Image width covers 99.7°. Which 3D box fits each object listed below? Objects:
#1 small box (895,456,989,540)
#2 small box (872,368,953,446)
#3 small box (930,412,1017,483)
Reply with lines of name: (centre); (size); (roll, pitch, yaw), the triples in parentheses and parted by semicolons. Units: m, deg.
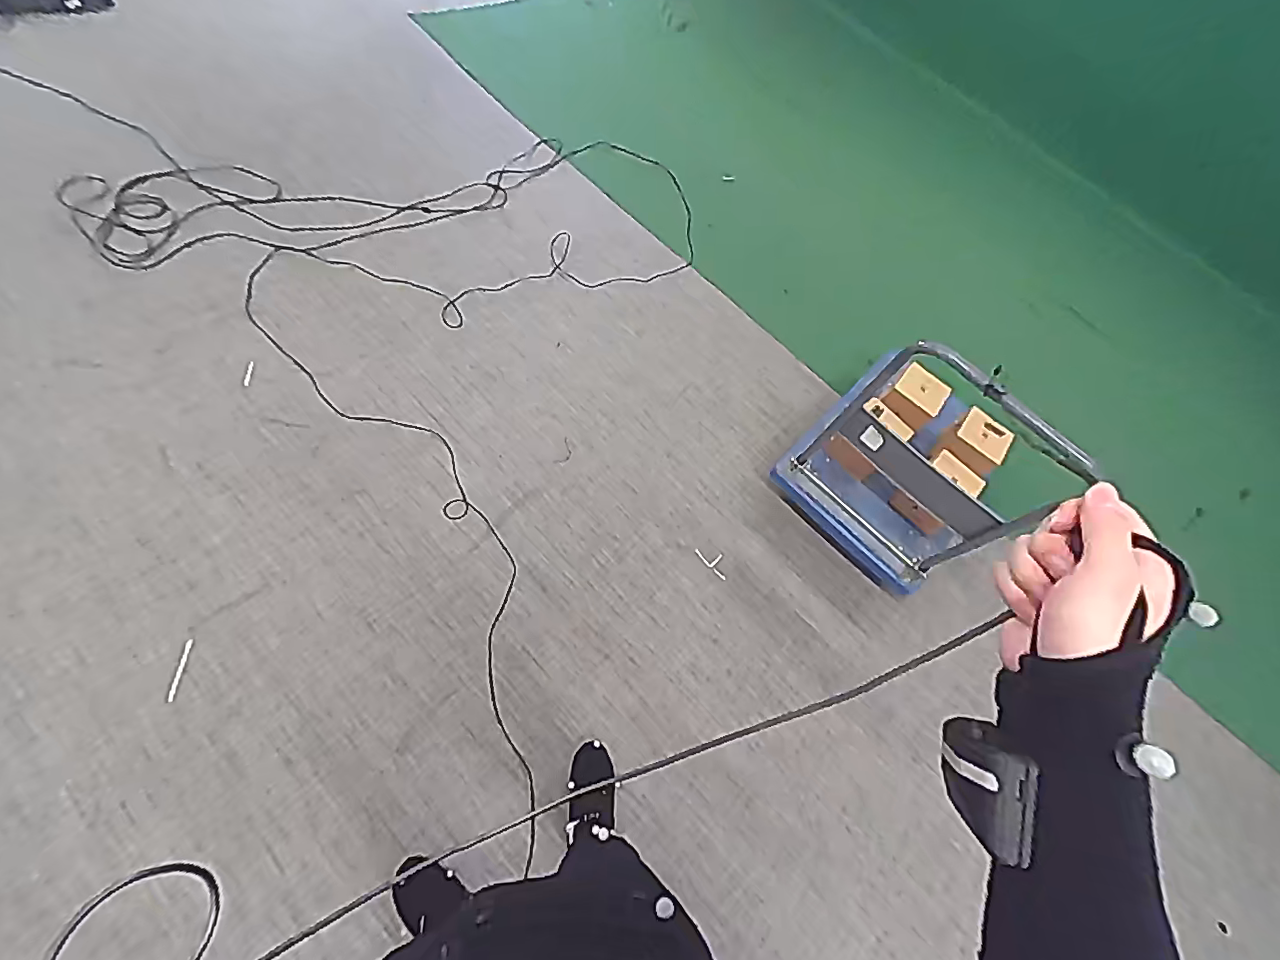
small box: (0.960, 0.060, 1.733); (0.168, 0.176, 0.179); (44, 62, 12)
small box: (0.951, -0.252, 1.905); (0.168, 0.176, 0.179); (41, 60, 9)
small box: (1.142, -0.093, 1.862); (0.168, 0.176, 0.179); (40, 61, 11)
